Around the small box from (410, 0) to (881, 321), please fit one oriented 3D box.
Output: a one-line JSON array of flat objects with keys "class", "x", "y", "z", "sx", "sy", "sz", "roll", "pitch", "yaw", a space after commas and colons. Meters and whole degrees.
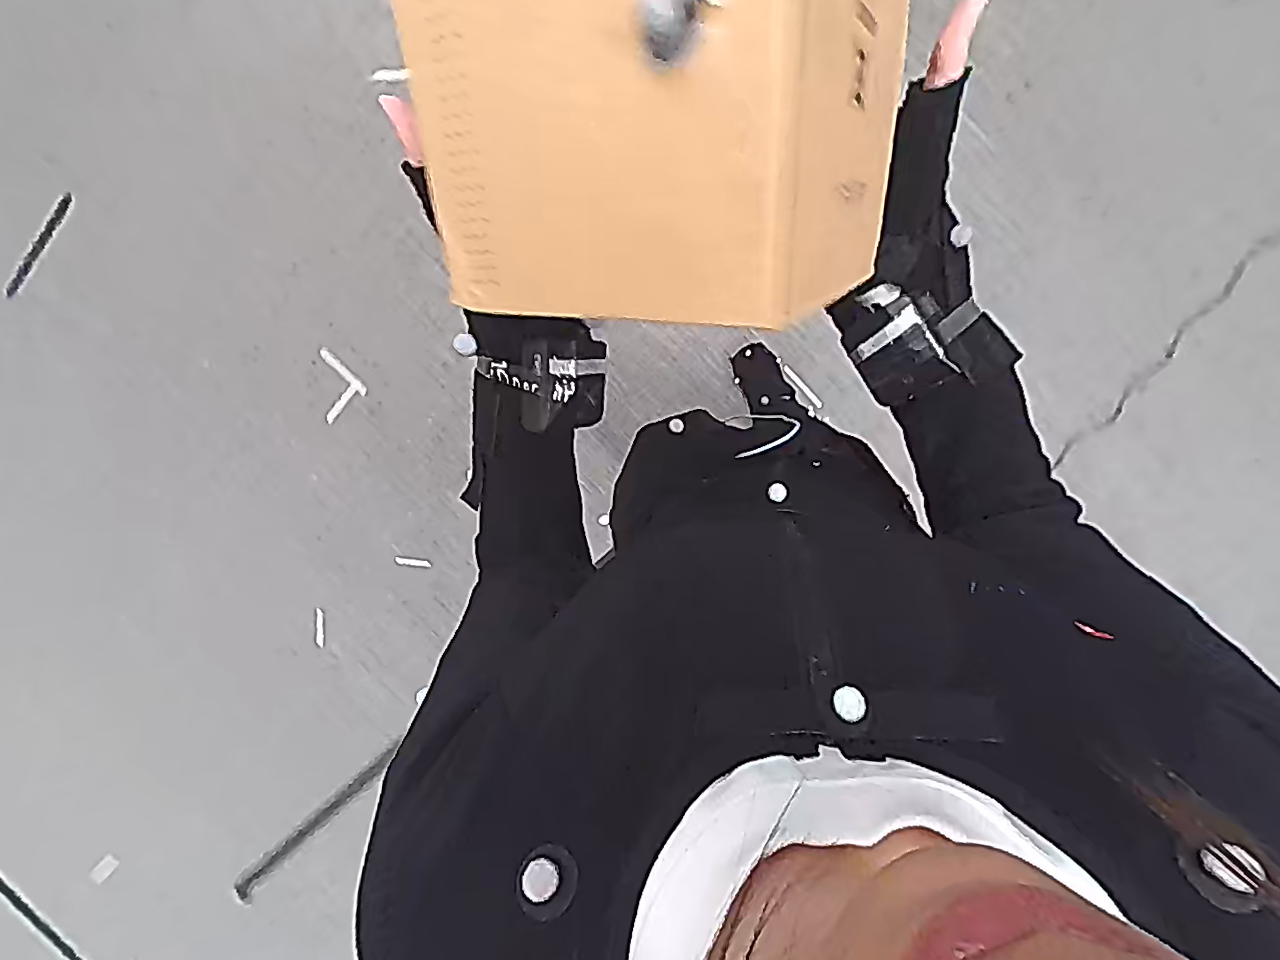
[{"class": "small box", "x": 0.014, "y": -0.180, "z": 0.266, "sx": 0.176, "sy": 0.168, "sz": 0.179, "roll": 10, "pitch": 119, "yaw": 26}]
